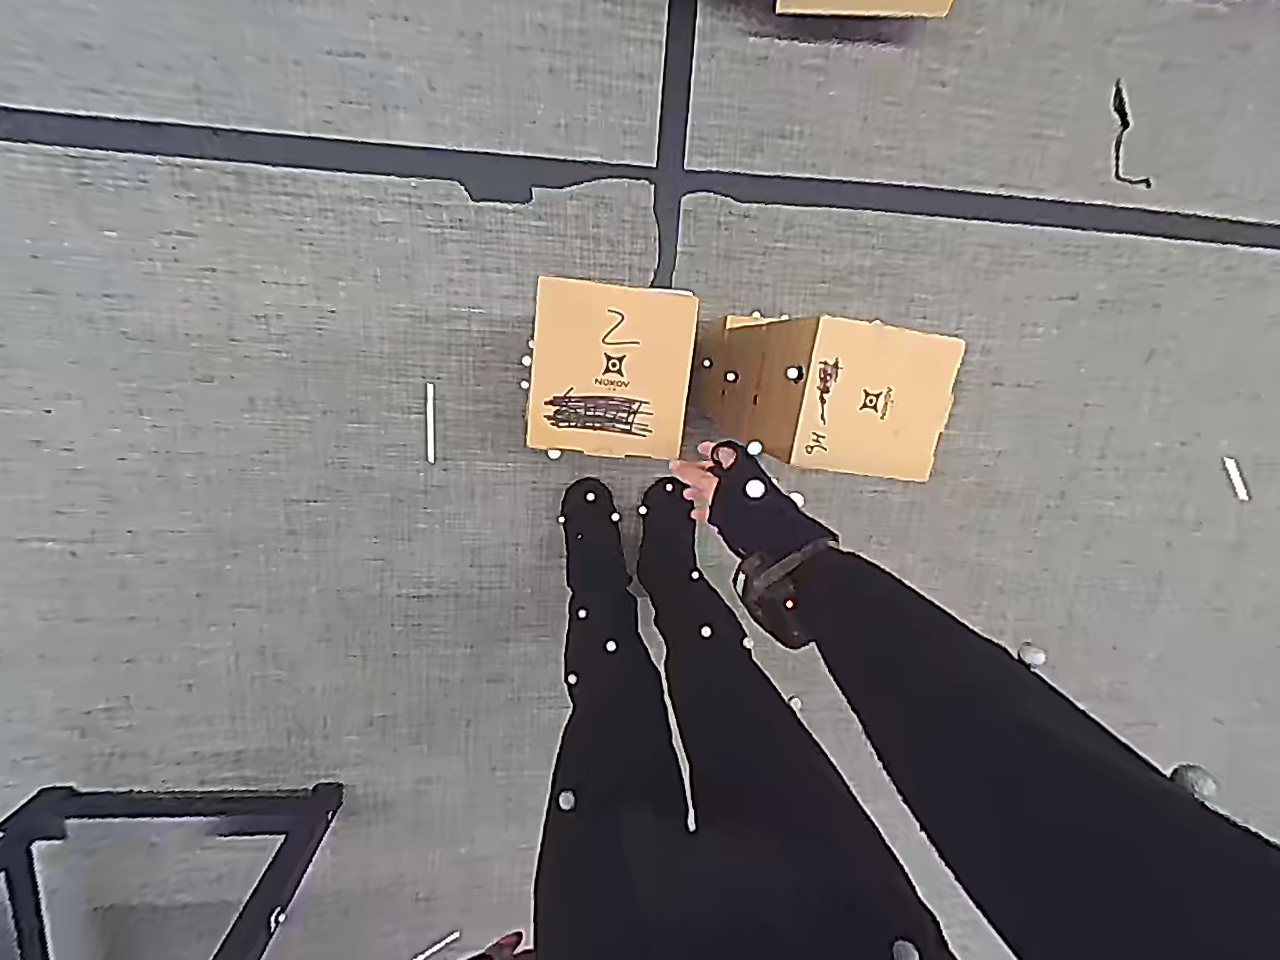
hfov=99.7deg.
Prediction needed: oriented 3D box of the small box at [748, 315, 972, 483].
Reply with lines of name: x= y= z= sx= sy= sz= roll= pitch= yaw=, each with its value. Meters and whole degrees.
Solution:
small box: x=0.255 y=-0.104 z=0.669 sx=0.179 sy=0.176 sz=0.168 roll=7 pitch=103 yaw=-10

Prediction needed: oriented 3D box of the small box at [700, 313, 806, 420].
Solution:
small box: x=0.211 y=-0.202 z=0.981 sx=0.168 sy=0.176 sz=0.179 roll=1 pitch=103 yaw=-8

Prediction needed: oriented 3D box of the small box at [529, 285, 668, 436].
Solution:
small box: x=-0.066 y=-0.170 z=0.786 sx=0.168 sy=0.176 sz=0.179 roll=6 pitch=101 yaw=-10

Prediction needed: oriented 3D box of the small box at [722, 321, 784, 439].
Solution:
small box: x=0.235 y=-0.146 z=0.827 sx=0.179 sy=0.176 sz=0.168 roll=4 pitch=104 yaw=-9
